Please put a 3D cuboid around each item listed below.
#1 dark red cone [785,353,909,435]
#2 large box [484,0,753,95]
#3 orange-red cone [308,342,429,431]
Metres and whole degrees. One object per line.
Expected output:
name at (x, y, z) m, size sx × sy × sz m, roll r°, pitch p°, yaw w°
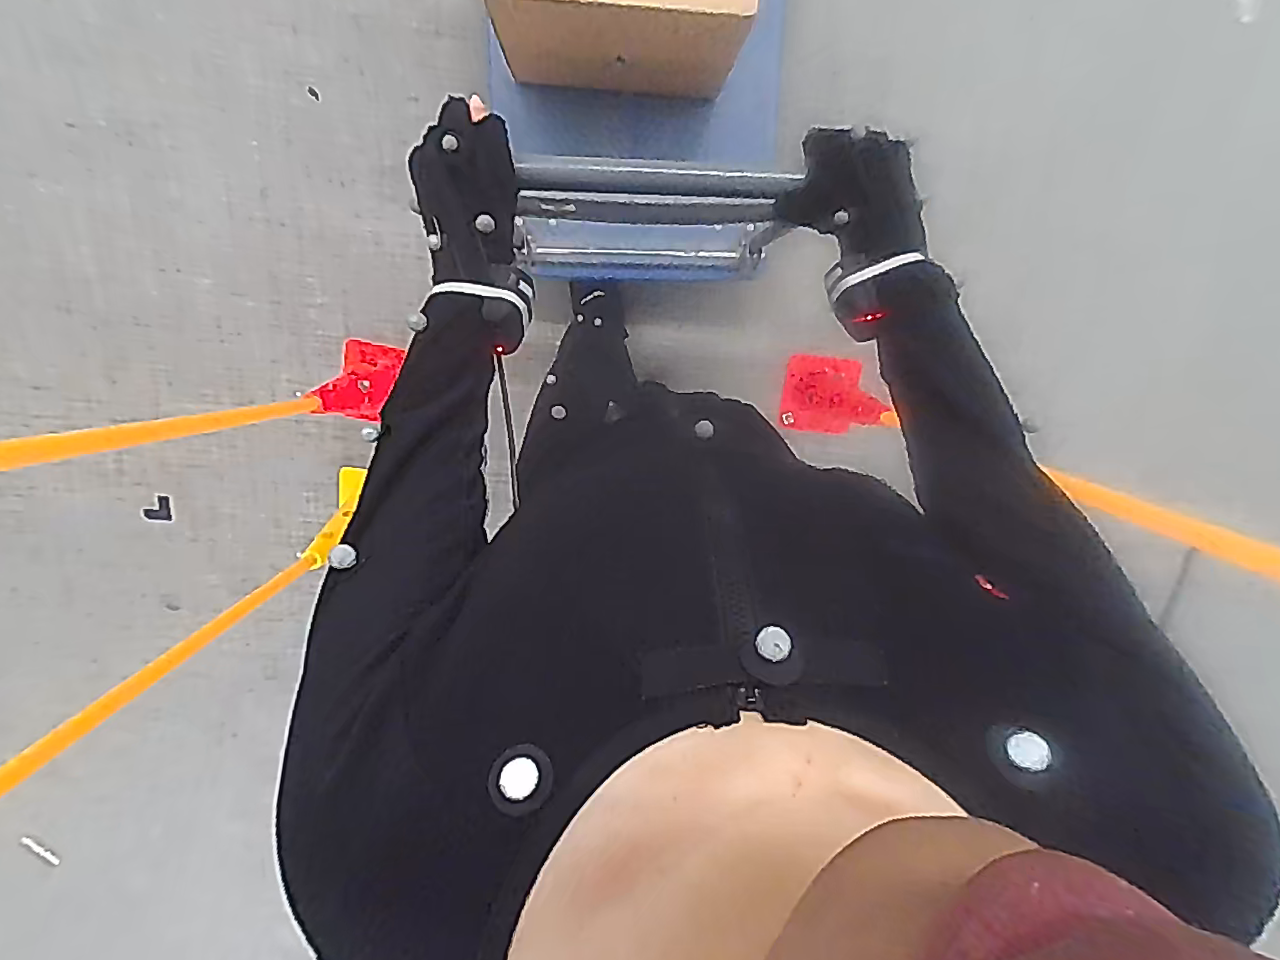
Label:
dark red cone at (0.498, -0.179, 1.256) m, size 0.201 × 0.394 × 0.202 m, roll 4°, pitch 105°, yaw -6°
large box at (-0.031, -0.882, 0.902) m, size 0.408 × 0.320 × 0.320 m, roll 2°, pitch 105°, yaw -3°
orange-red cone at (-0.635, -0.193, 1.210) m, size 0.198 × 0.360 × 0.199 m, roll 12°, pitch 103°, yaw -7°
